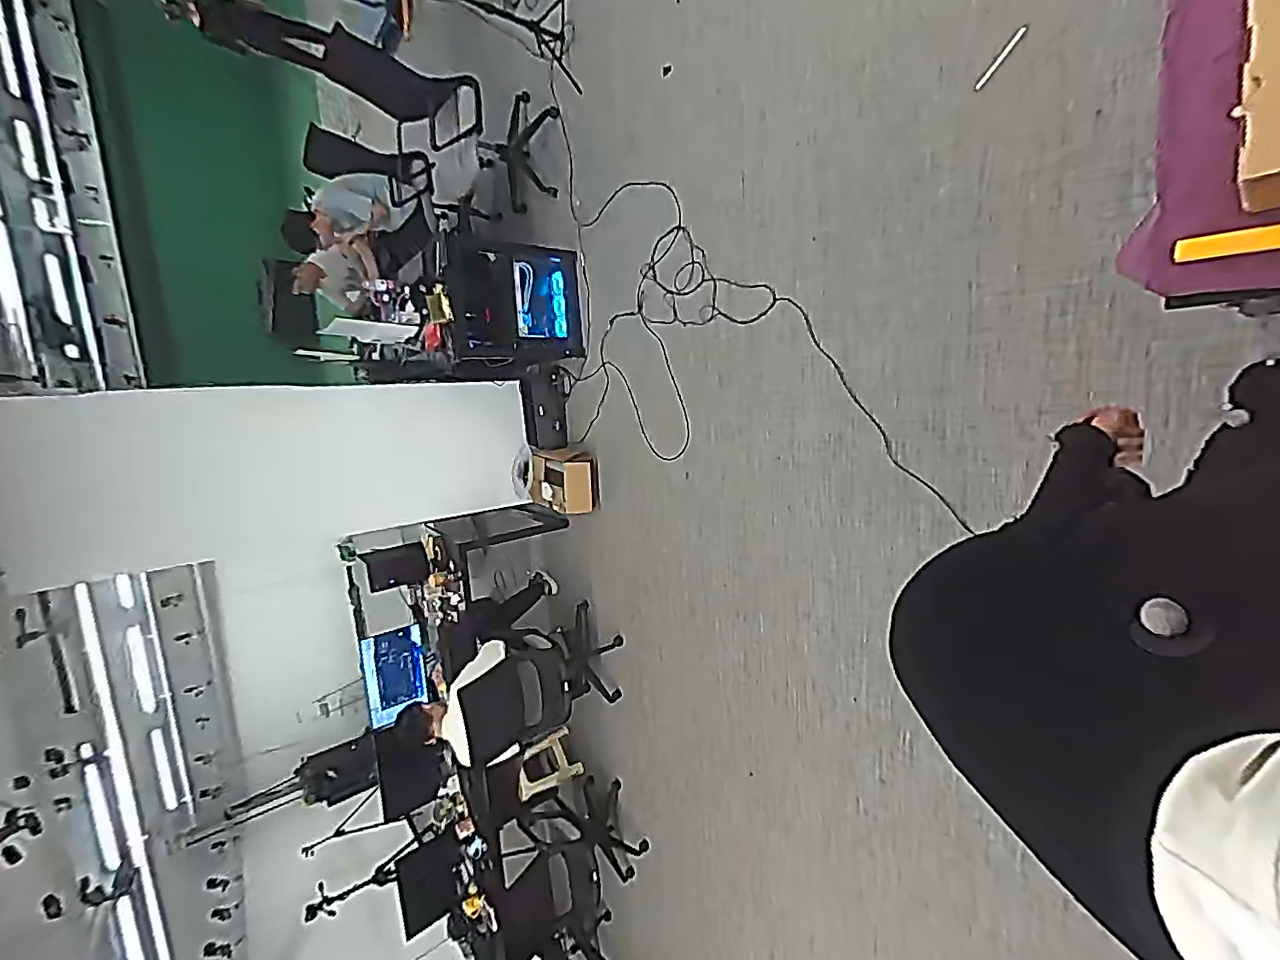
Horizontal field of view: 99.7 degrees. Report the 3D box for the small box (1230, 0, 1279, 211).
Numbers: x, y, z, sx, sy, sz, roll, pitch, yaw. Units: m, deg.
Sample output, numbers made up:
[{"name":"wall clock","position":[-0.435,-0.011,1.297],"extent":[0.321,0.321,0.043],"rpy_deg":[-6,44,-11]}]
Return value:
[{"name":"small box","position":[0.663,-0.360,0.478],"extent":[0.179,0.176,0.168],"rpy_deg":[5,102,51]}]
